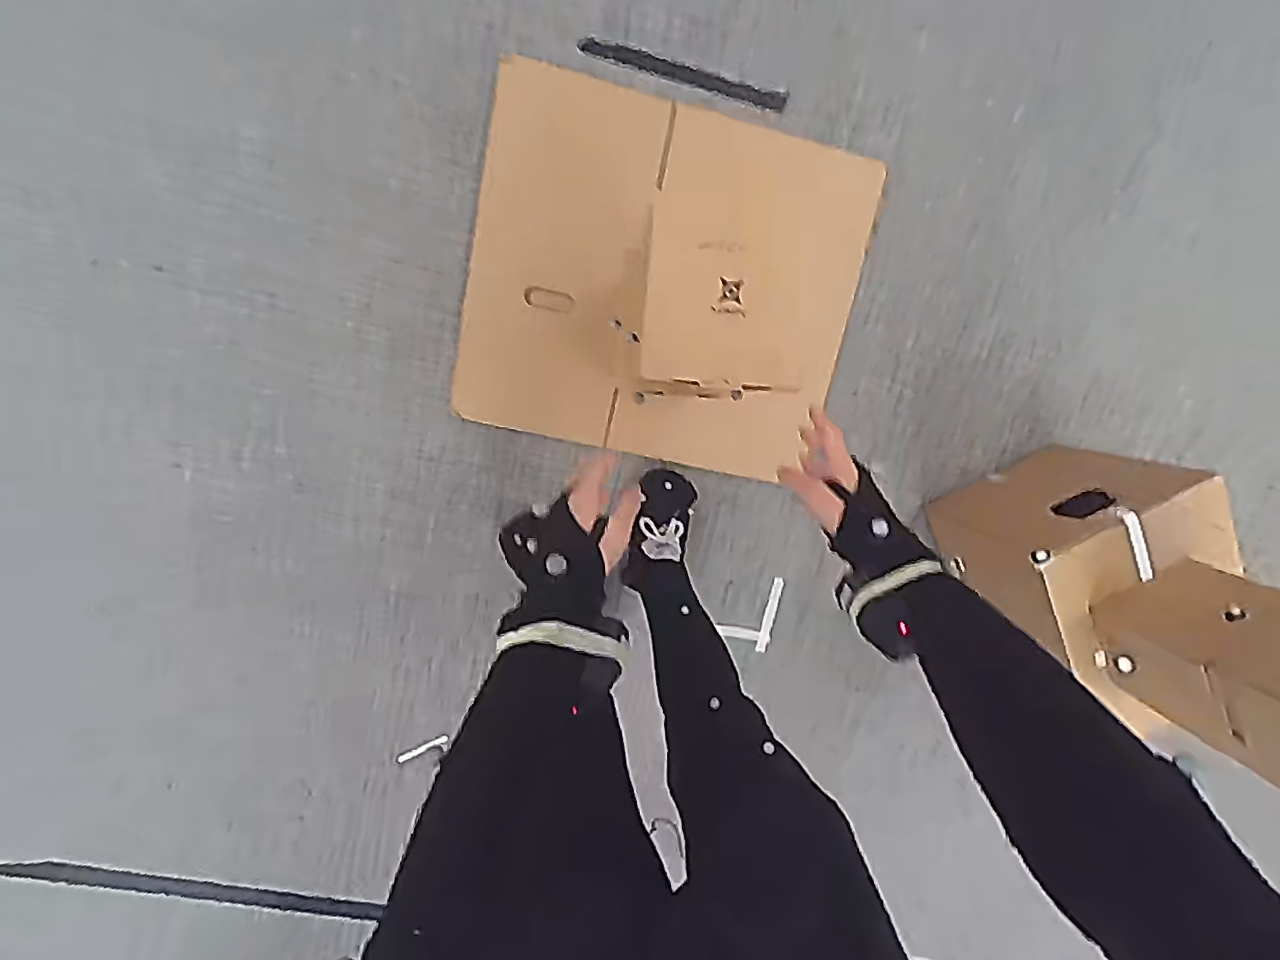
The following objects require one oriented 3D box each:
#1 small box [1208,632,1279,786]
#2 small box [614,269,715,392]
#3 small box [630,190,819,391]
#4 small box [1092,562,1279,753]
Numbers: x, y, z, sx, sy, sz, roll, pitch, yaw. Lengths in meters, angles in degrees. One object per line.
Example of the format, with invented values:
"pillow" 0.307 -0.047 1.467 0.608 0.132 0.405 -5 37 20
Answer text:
"small box" 0.842 0.281 0.631 0.179 0.176 0.168 -27 103 1
"small box" 0.043 -0.249 0.924 0.168 0.176 0.179 4 103 -4
"small box" 0.079 -0.197 0.603 0.168 0.176 0.179 3 101 -5
"small box" 0.826 0.246 0.790 0.179 0.176 0.168 -27 103 3
